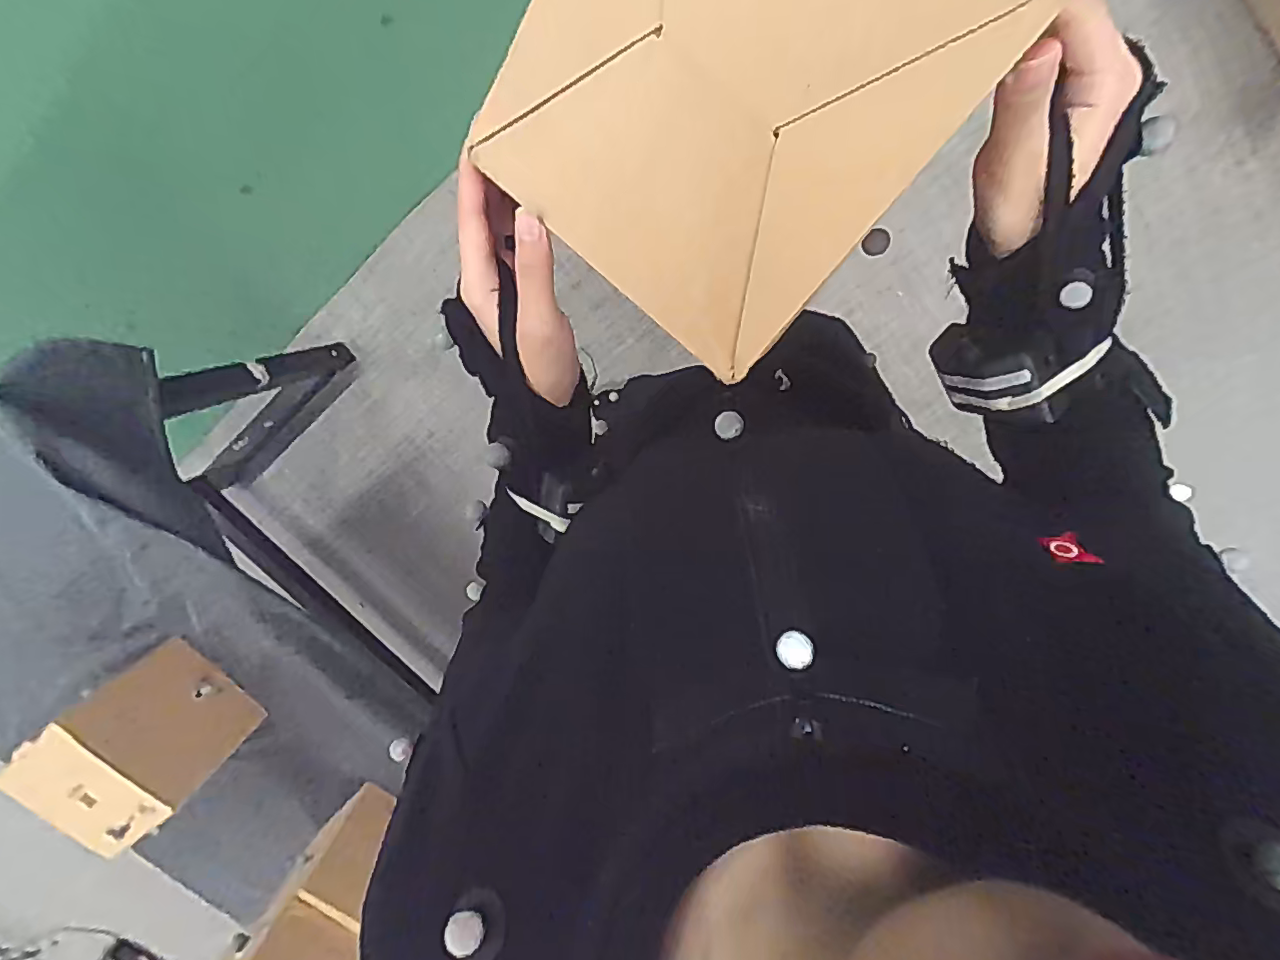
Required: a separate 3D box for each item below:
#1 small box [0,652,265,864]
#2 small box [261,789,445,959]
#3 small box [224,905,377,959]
[{"bbox_3d":[-0.678,0.364,0.740,0.168,0.176,0.179,-36,103,16],"label":"small box"},{"bbox_3d":[-0.426,0.616,0.812,0.168,0.176,0.179,40,108,-10],"label":"small box"},{"bbox_3d":[-0.452,0.679,0.664,0.179,0.176,0.168,44,106,-10],"label":"small box"}]
